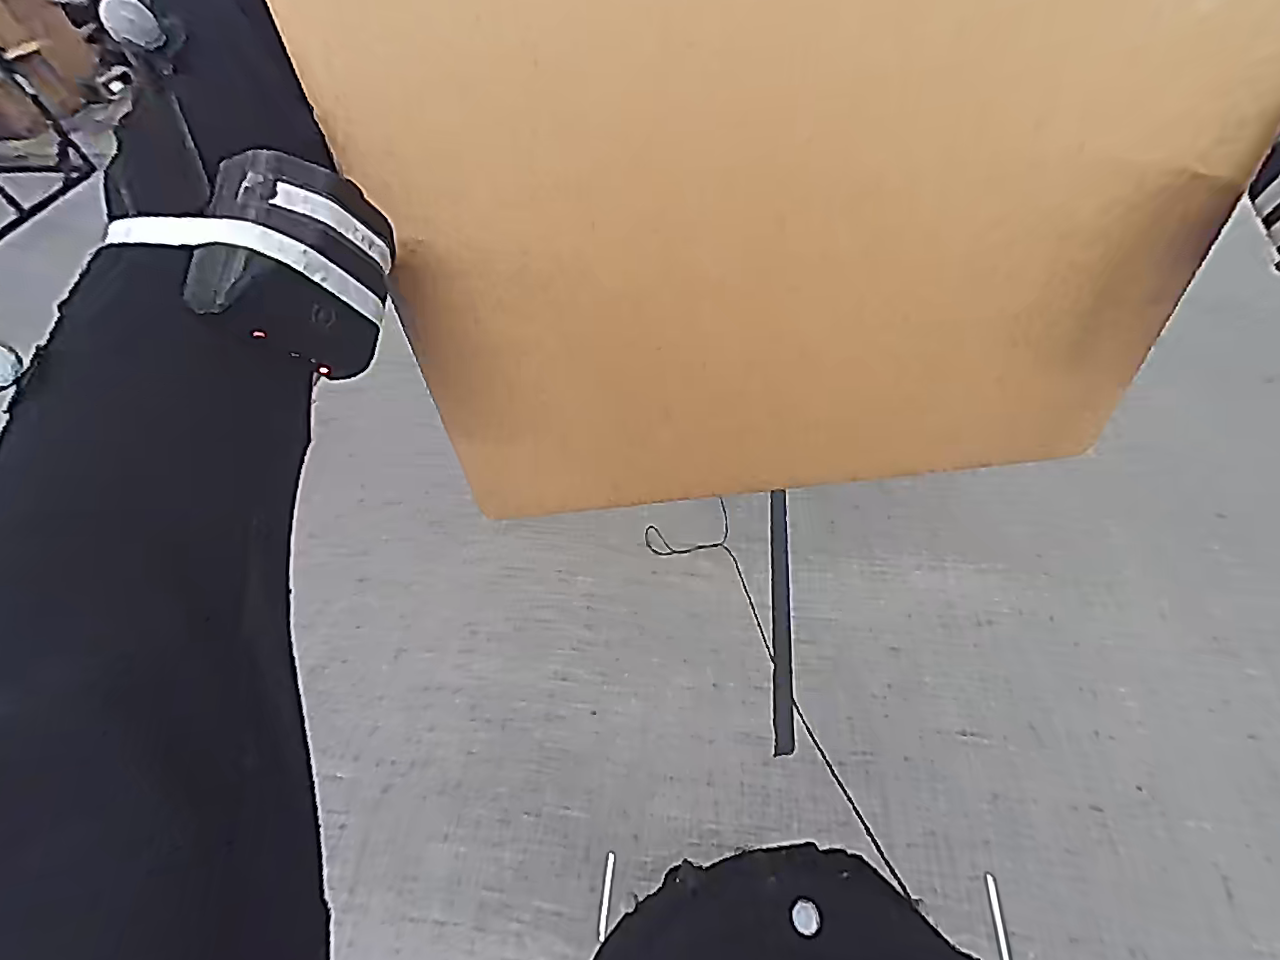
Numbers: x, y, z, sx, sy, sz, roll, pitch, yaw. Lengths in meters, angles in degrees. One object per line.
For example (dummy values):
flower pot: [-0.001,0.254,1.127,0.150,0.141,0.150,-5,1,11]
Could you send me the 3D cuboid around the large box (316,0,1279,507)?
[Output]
large box: [0.071,-0.209,0.382,0.408,0.320,0.320,-6,42,0]
